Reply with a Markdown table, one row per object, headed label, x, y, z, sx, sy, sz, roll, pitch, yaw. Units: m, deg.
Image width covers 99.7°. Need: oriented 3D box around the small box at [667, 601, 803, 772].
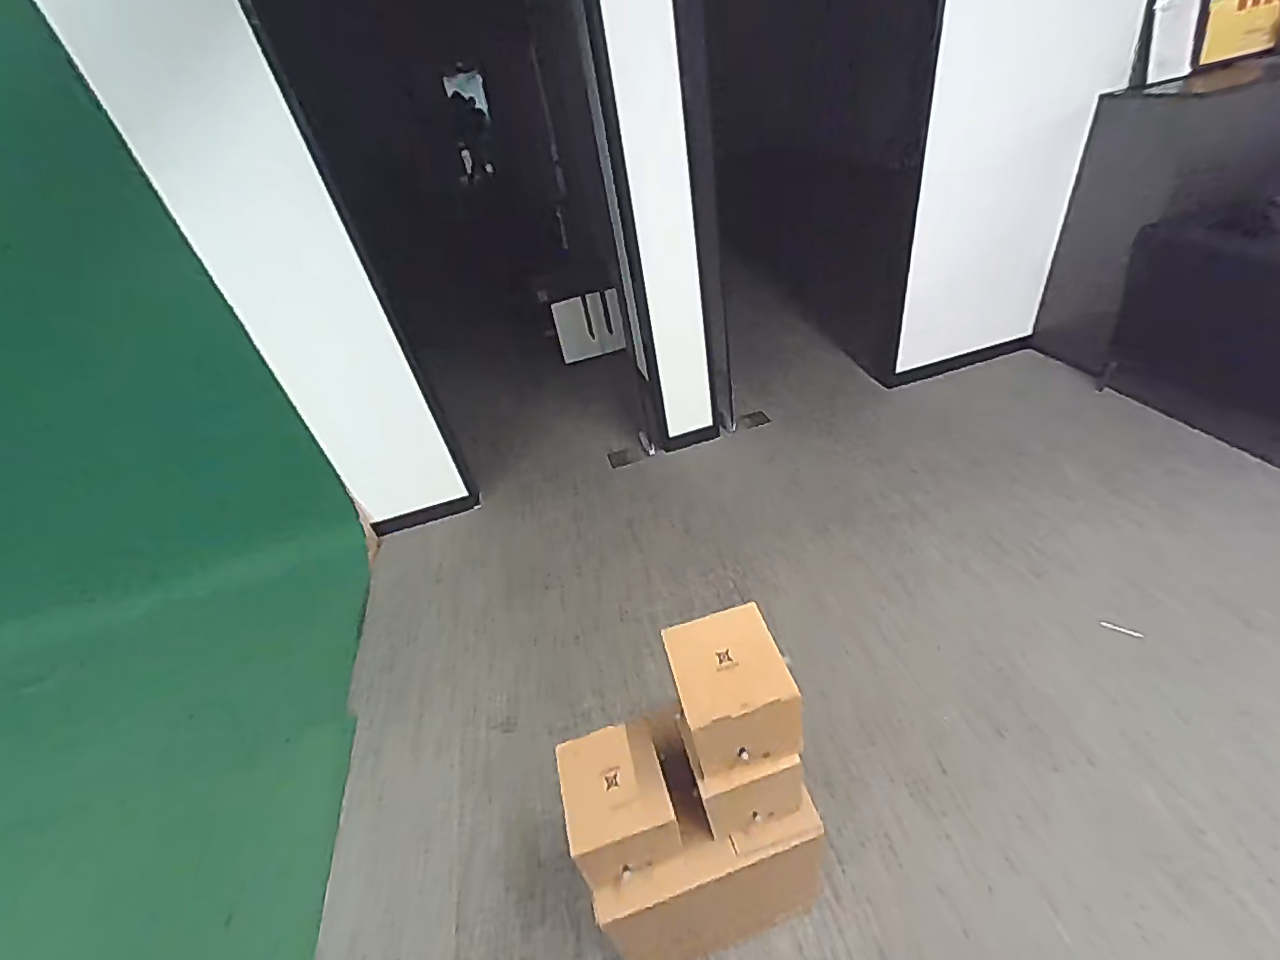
| label | x | y | z | sx | sy | sz | roll | pitch | yaw |
| --- | --- | --- | --- | --- | --- | --- | --- | --- | --- |
| small box | 0.151 | 0.333 | 0.877 | 0.168 | 0.176 | 0.179 | -16 | 37 | -3 |
